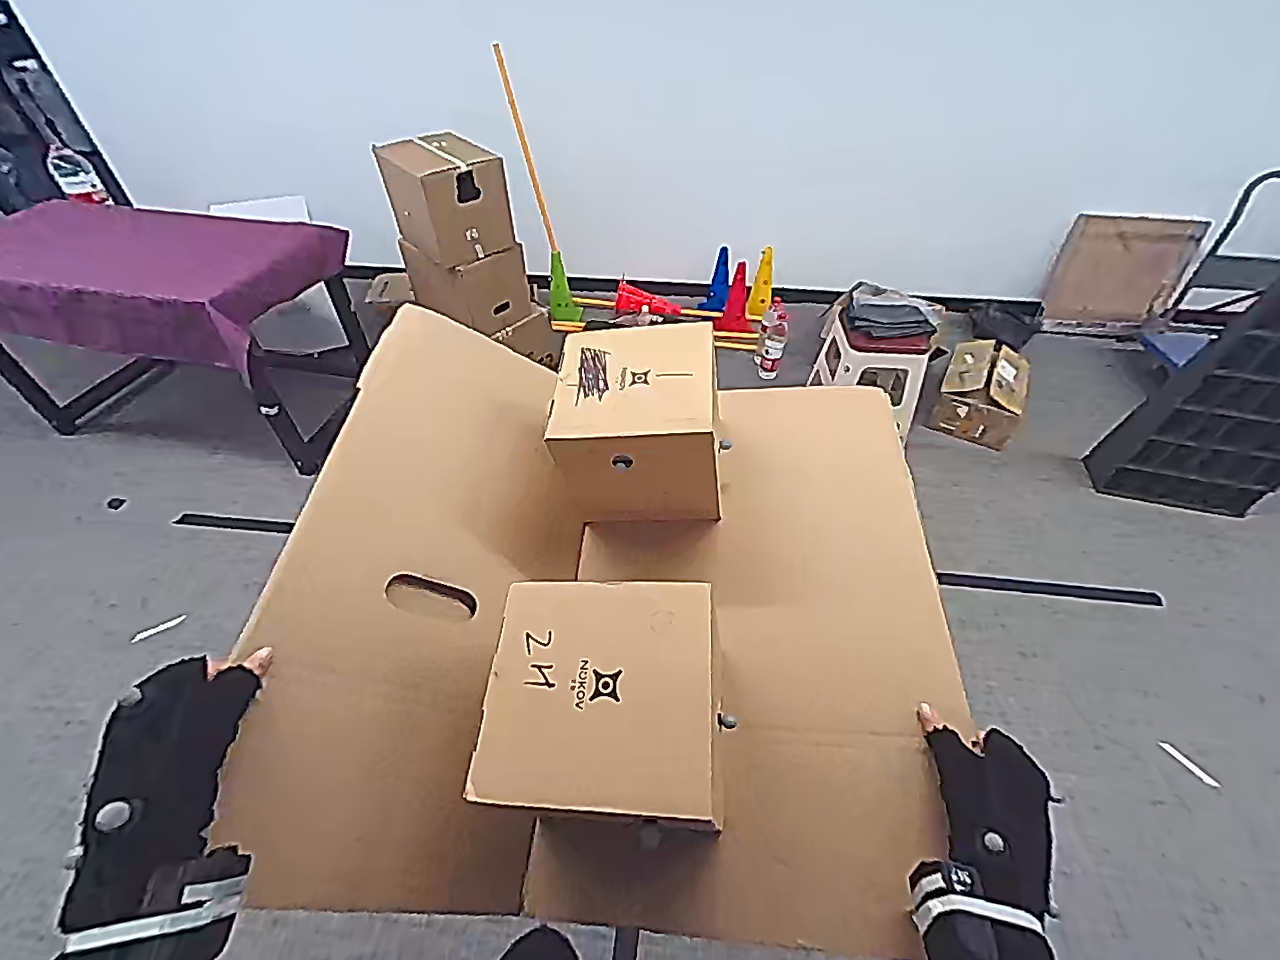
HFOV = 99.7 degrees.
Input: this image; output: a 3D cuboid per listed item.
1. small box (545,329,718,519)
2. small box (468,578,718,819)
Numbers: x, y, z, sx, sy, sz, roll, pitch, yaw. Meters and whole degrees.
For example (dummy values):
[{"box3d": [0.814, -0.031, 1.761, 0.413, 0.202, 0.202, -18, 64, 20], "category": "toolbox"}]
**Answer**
[{"box3d": [0.003, -0.061, 0.665, 0.179, 0.176, 0.168, -1, 55, 10], "category": "small box"}, {"box3d": [-0.021, 0.199, 0.486, 0.179, 0.176, 0.168, -2, 55, 11], "category": "small box"}]
